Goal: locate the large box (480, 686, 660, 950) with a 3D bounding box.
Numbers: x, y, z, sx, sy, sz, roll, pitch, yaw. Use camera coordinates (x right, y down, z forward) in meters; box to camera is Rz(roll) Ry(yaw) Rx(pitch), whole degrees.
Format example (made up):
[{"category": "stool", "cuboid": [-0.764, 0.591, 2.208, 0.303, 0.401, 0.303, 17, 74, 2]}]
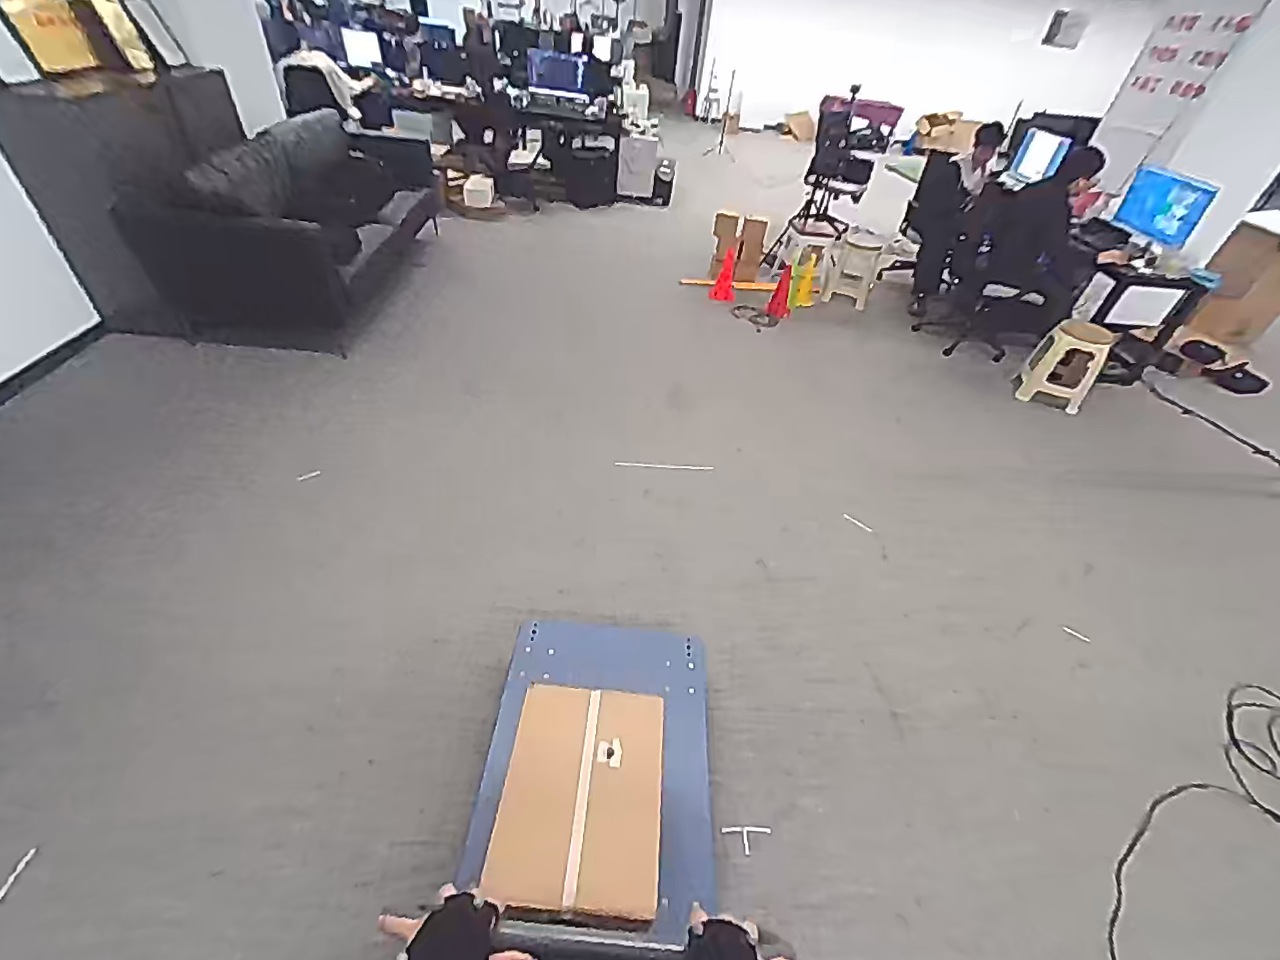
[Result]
[{"category": "large box", "cuboid": [-0.130, 0.722, 1.171, 0.320, 0.320, 0.408, 7, 39, -2]}]
